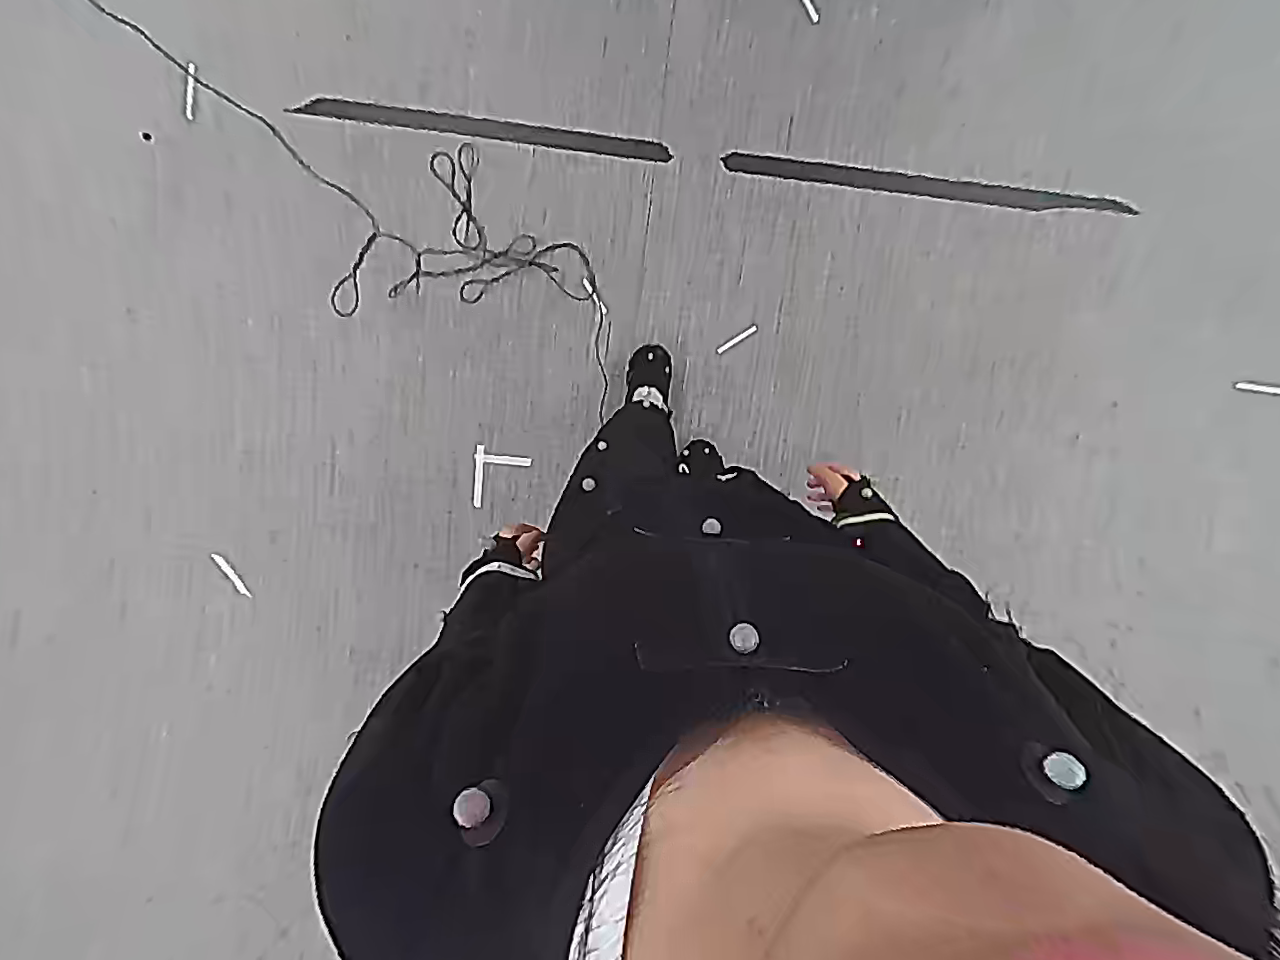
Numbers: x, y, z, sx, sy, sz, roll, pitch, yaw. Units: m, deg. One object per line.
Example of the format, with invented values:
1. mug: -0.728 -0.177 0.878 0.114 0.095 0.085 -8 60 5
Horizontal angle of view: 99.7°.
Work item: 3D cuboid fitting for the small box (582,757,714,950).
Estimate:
1. small box: 0.013 0.580 0.862 0.168 0.176 0.179 12 96 2
